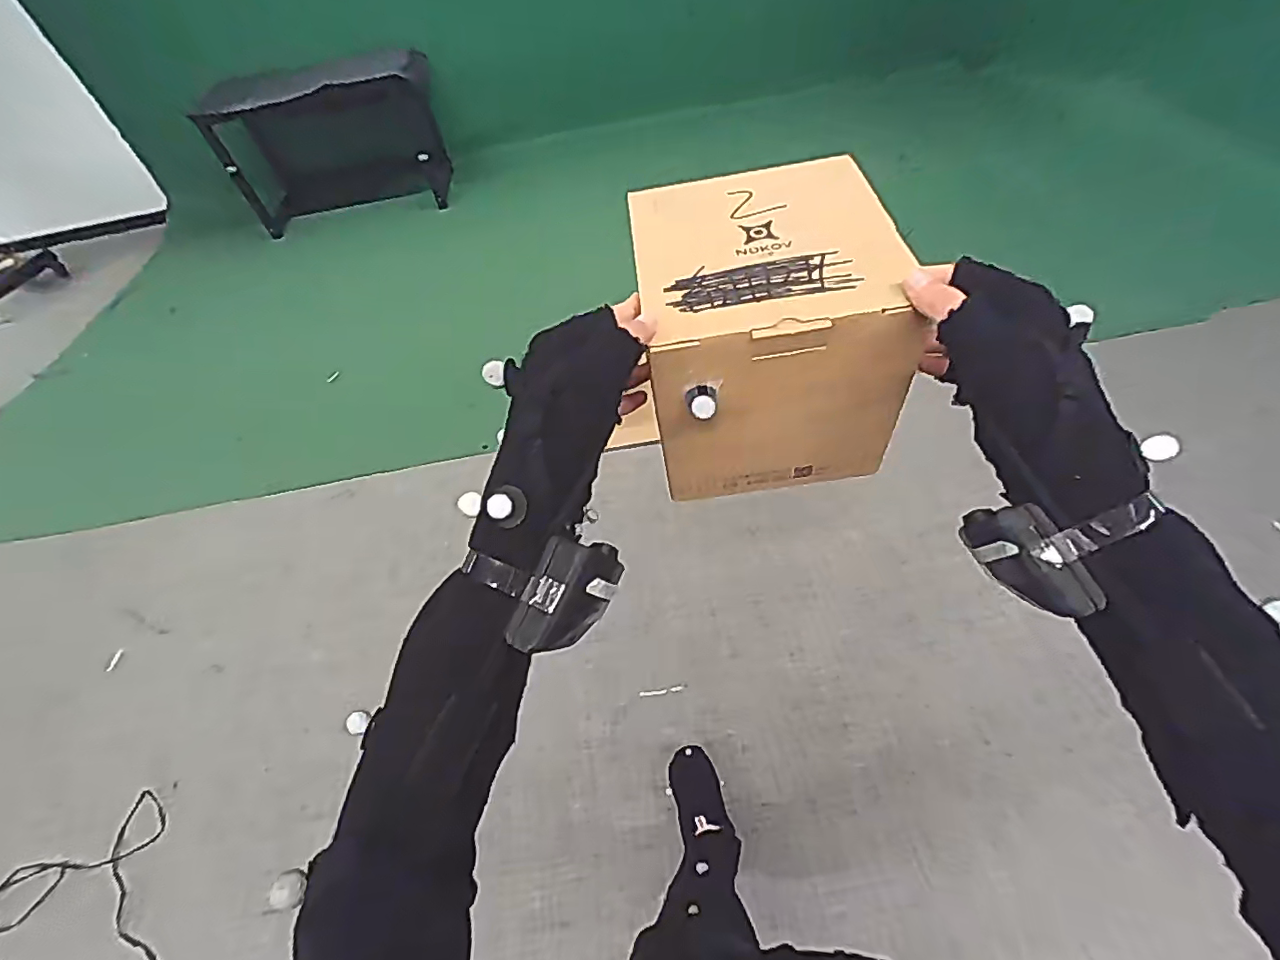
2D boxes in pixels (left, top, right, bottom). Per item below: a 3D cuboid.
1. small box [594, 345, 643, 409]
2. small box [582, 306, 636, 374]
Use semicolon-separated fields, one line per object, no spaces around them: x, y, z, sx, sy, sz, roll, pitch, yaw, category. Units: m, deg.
-0.087;-0.402;2.108;0.168;0.176;0.179;-11;50;3;small box
-0.113;-0.506;1.984;0.168;0.176;0.179;-9;49;4;small box
